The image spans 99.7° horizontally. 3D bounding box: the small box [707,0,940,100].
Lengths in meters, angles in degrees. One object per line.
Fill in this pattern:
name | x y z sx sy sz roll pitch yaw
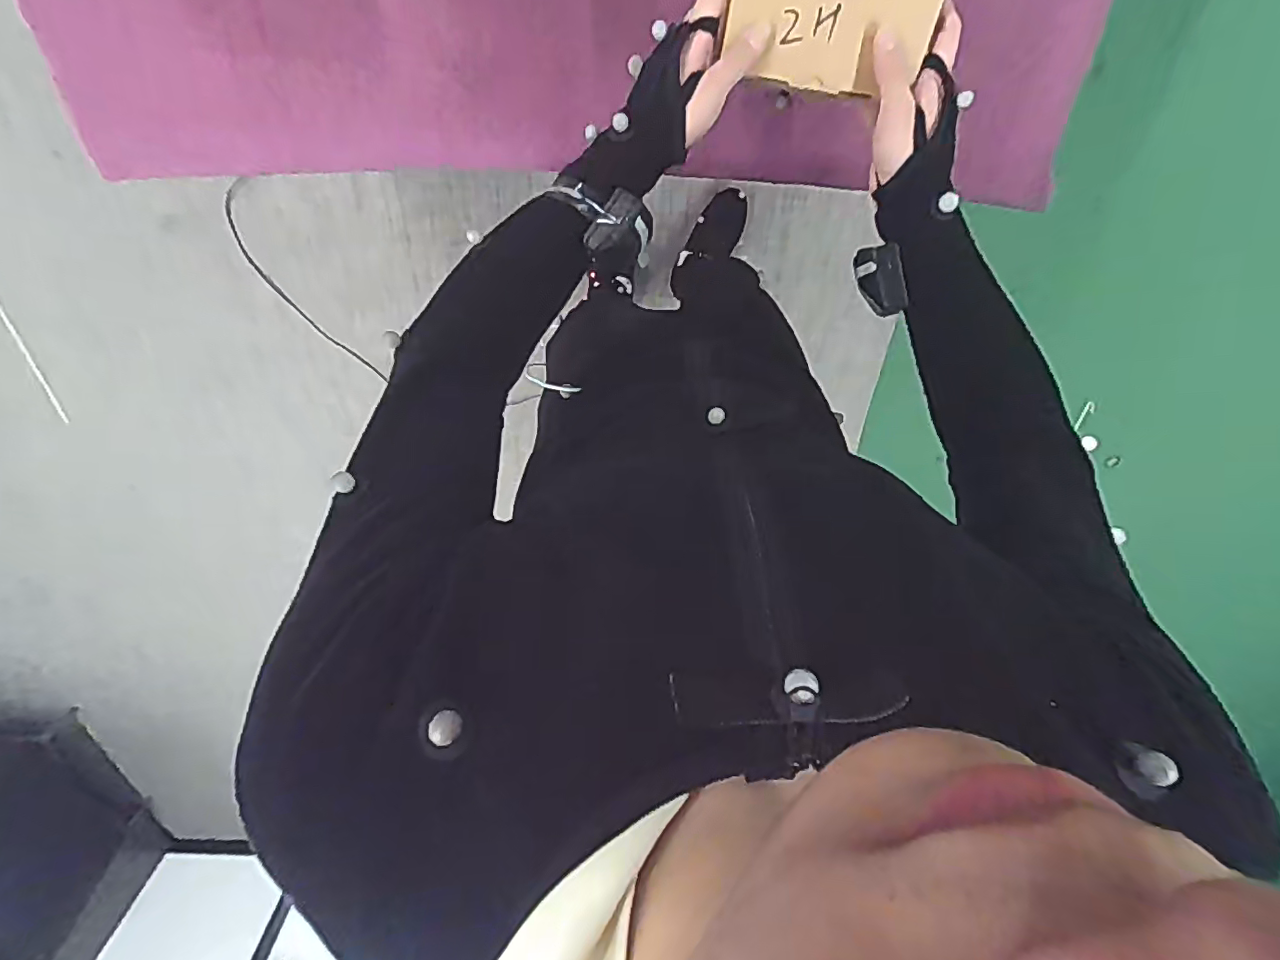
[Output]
small box | 0.157 -0.449 0.469 0.168 0.176 0.179 7 125 -4
